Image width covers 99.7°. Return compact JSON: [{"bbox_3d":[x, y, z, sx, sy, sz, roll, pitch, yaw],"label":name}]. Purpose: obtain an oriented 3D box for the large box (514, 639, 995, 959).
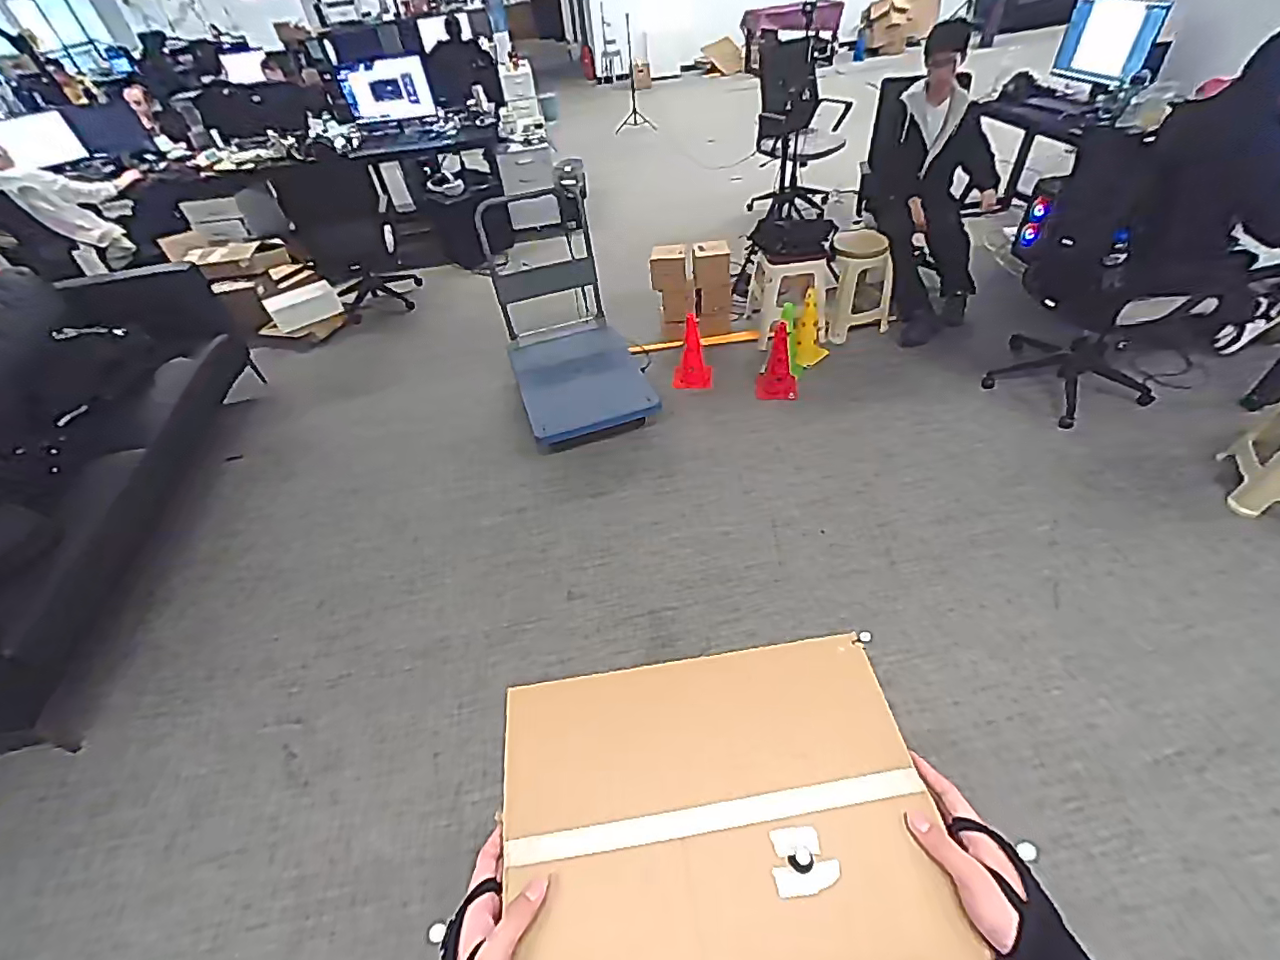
[{"bbox_3d":[0.083,0.428,0.632,0.408,0.320,0.320,-8,48,-3],"label":"large box"}]
